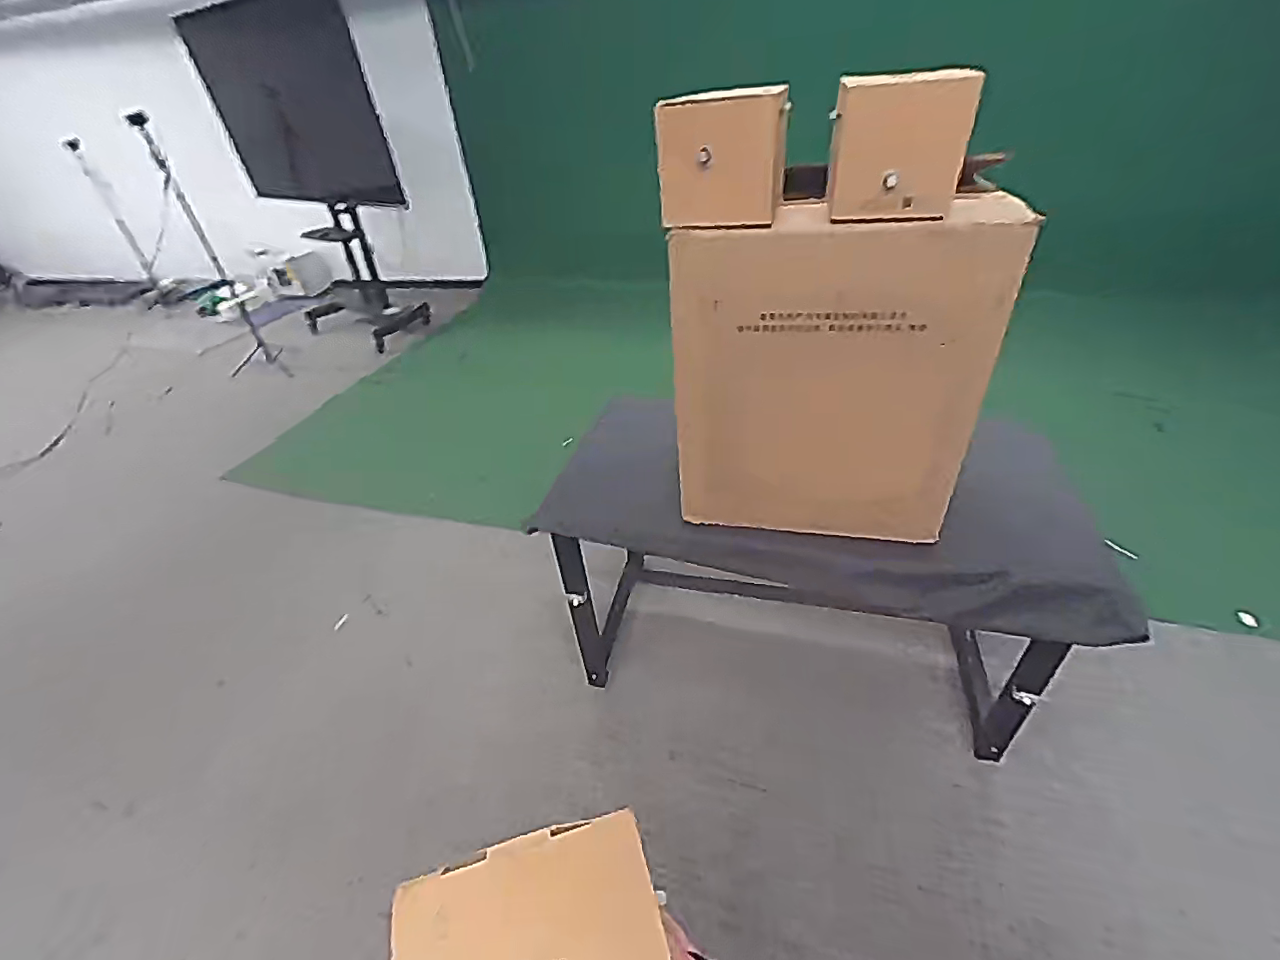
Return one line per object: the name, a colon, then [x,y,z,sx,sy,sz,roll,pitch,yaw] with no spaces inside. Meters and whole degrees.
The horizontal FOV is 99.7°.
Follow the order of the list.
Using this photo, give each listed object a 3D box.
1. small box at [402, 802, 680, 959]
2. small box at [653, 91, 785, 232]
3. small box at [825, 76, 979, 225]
small box: [-0.058,0.363,0.369,0.168,0.176,0.179,-10,43,-13]
small box: [0.134,-0.507,0.868,0.179,0.176,0.168,6,40,17]
small box: [0.377,-0.496,0.815,0.168,0.176,0.179,4,40,13]
